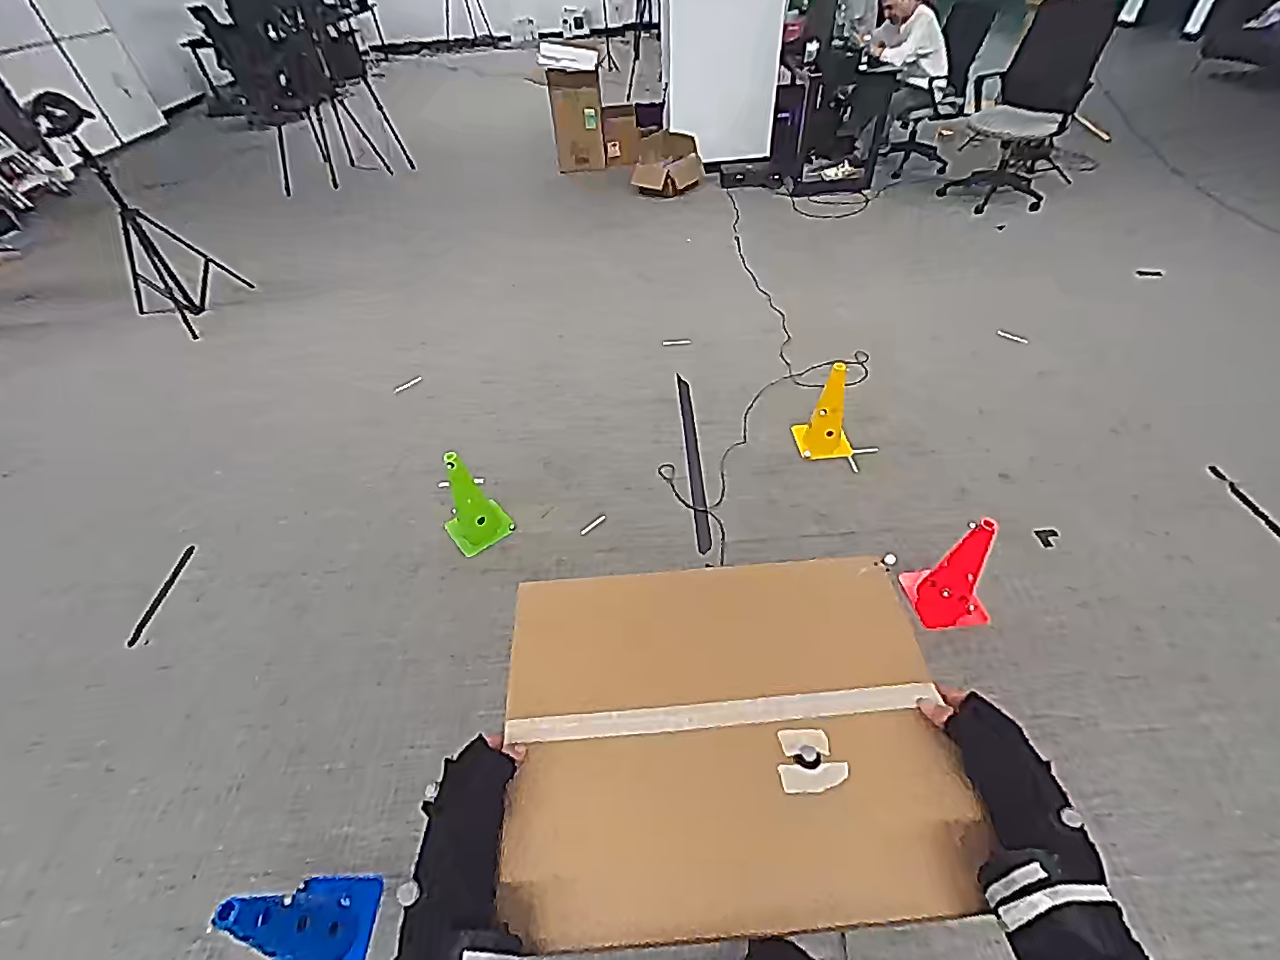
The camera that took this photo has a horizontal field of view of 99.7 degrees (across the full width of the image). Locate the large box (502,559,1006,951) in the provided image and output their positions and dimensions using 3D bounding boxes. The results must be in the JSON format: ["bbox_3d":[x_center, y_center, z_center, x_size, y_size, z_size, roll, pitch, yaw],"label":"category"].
[{"bbox_3d":[0.083,0.319,0.623,0.408,0.320,0.320,-4,50,-1],"label":"large box"}]

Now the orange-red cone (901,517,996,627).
[{"bbox_3d":[0.908,0.233,1.521,0.198,0.360,0.199,-5,44,-2],"label":"orange-red cone"}]

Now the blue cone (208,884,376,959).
[{"bbox_3d":[-0.693,0.880,1.053,0.192,0.380,0.193,-3,45,4],"label":"blue cone"}]

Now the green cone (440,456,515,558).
[{"bbox_3d":[-0.589,0.055,1.822,0.202,0.368,0.200,-34,52,-23],"label":"green cone"}]
